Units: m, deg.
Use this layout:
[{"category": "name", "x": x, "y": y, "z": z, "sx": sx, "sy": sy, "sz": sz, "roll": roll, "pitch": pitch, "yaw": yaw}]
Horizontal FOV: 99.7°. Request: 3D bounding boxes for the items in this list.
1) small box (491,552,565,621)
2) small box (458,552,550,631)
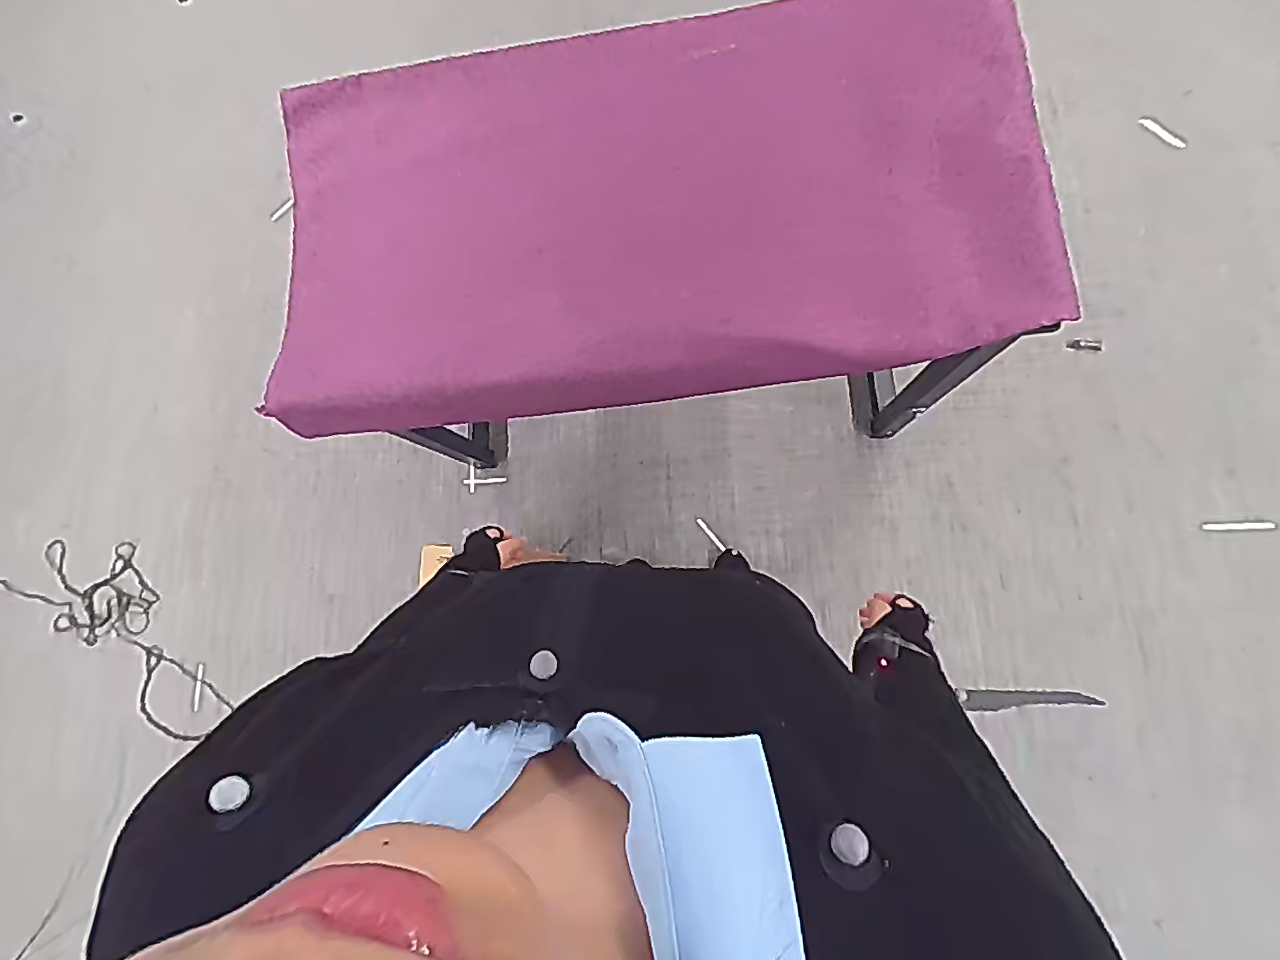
[{"category": "small box", "x": -0.308, "y": 0.291, "z": 1.471, "sx": 0.168, "sy": 0.176, "sz": 0.179, "roll": 3, "pitch": 81, "yaw": 8}, {"category": "small box", "x": -0.323, "y": 0.267, "z": 1.309, "sx": 0.168, "sy": 0.176, "sz": 0.179, "roll": -2, "pitch": 81, "yaw": 8}]
